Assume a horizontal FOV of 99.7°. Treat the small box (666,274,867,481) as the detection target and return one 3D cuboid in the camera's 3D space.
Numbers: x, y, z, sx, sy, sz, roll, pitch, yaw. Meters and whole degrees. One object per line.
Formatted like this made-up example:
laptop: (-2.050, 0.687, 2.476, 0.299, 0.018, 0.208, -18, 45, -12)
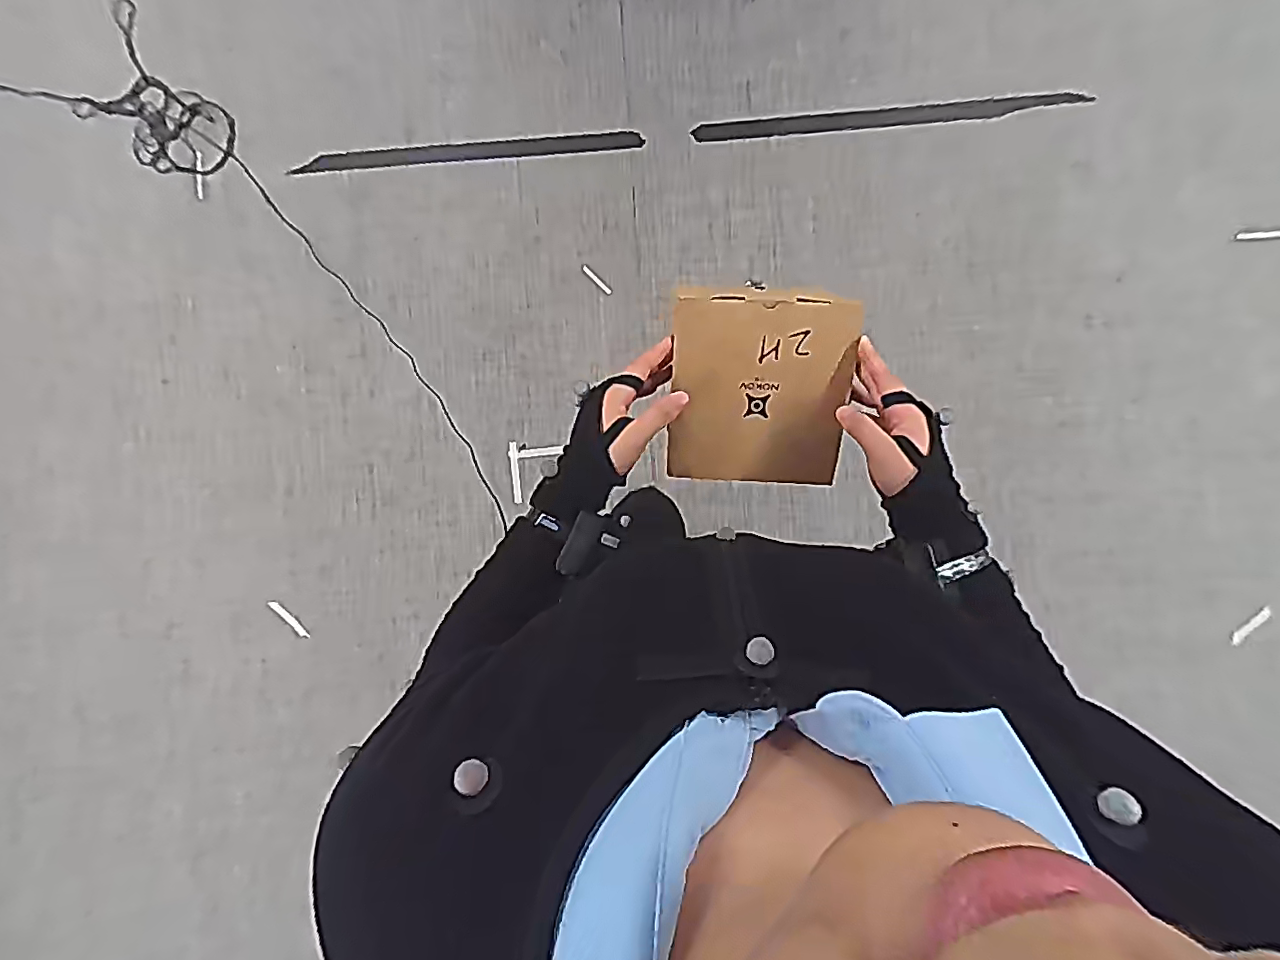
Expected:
small box: (0.117, -0.116, 0.572, 0.168, 0.176, 0.179, 4, 114, 3)
